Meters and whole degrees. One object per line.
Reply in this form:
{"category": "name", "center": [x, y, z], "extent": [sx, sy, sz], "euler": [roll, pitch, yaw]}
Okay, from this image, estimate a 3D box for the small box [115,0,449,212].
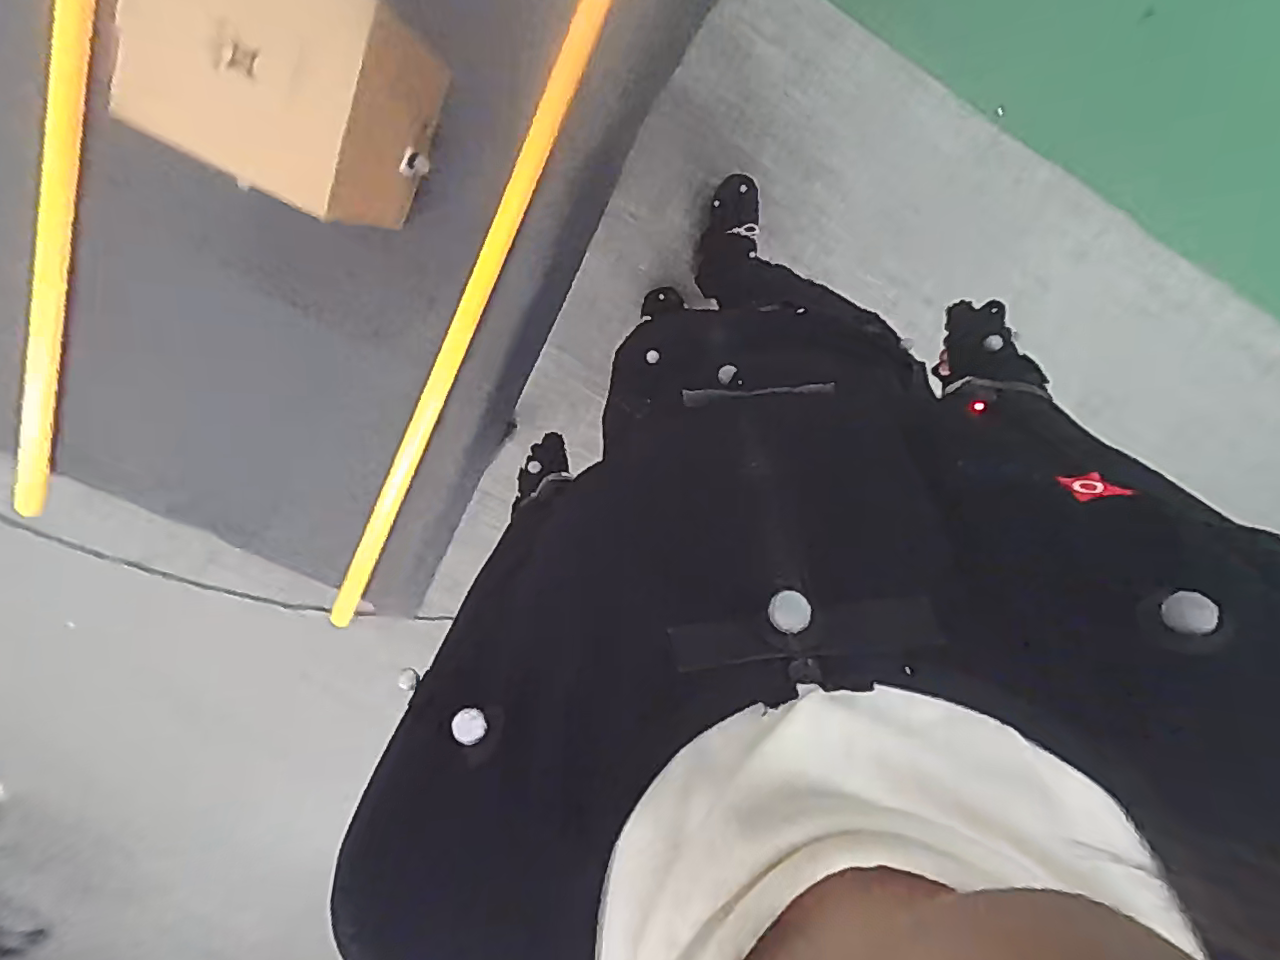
{"category": "small box", "center": [-0.303, -0.361, 0.488], "extent": [0.179, 0.176, 0.168], "euler": [24, 112, -10]}
